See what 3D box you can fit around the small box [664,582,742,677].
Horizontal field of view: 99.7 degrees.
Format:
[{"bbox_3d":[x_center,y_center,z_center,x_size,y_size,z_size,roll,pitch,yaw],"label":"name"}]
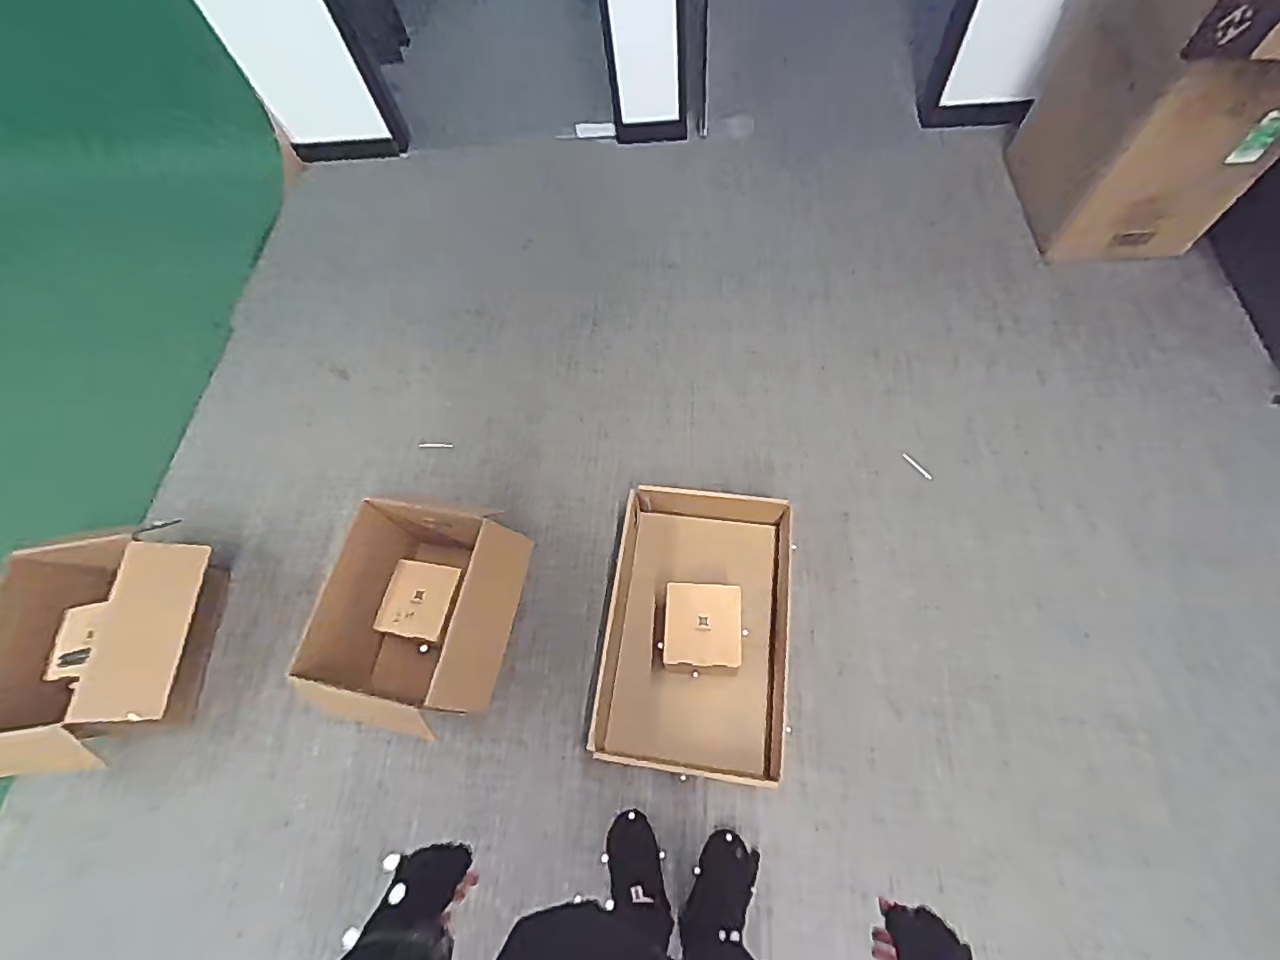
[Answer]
[{"bbox_3d":[0.142,0.346,1.240,0.168,0.176,0.179,1,64,6],"label":"small box"}]
